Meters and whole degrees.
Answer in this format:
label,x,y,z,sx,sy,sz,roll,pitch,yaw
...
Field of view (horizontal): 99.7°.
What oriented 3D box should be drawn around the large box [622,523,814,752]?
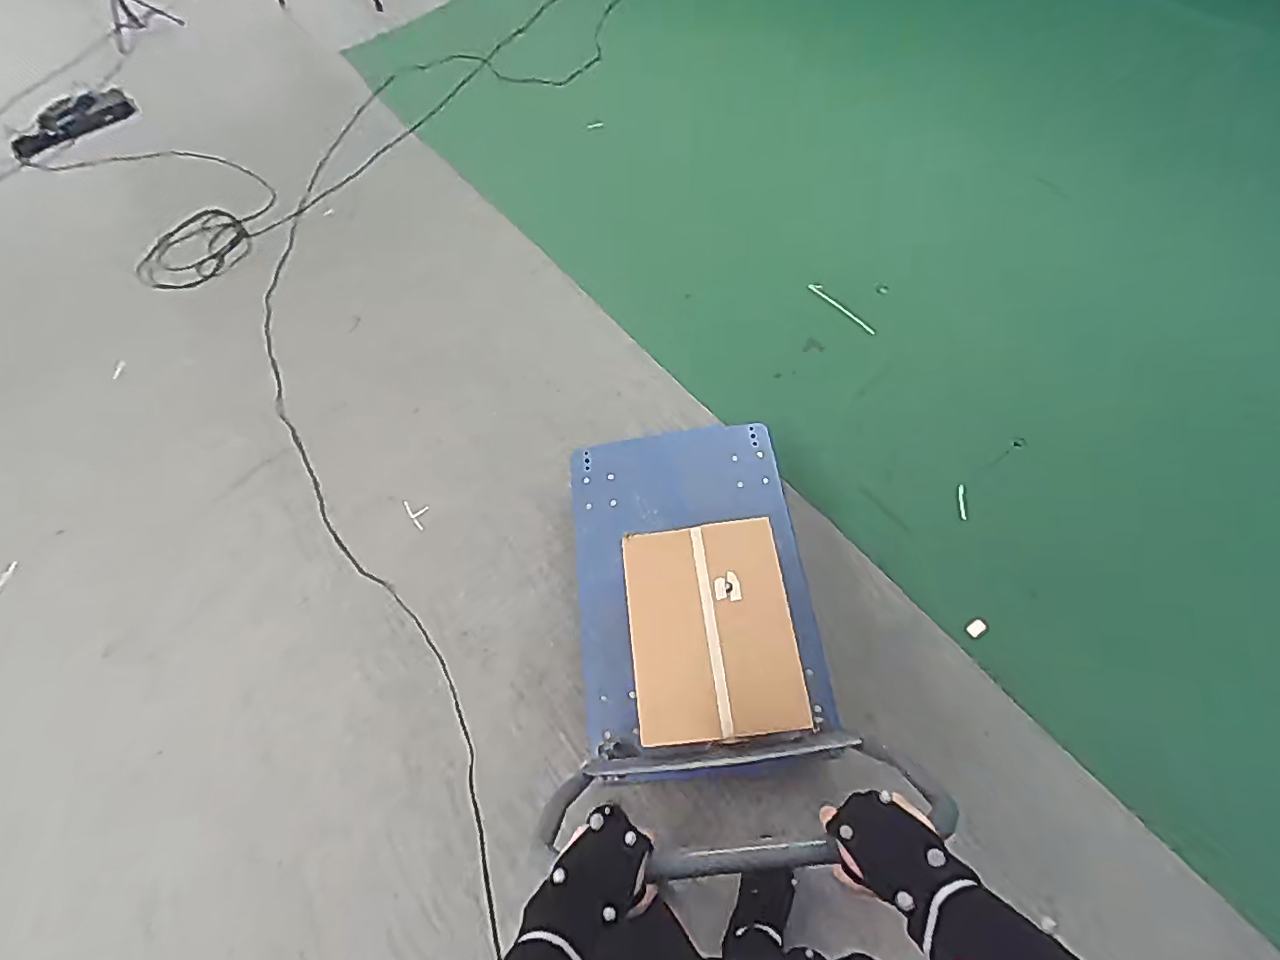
label,x,y,z,sx,sy,sz,roll,pitch,yaw
large box,0.155,0.353,1.187,0.320,0.320,0.408,-8,64,2
